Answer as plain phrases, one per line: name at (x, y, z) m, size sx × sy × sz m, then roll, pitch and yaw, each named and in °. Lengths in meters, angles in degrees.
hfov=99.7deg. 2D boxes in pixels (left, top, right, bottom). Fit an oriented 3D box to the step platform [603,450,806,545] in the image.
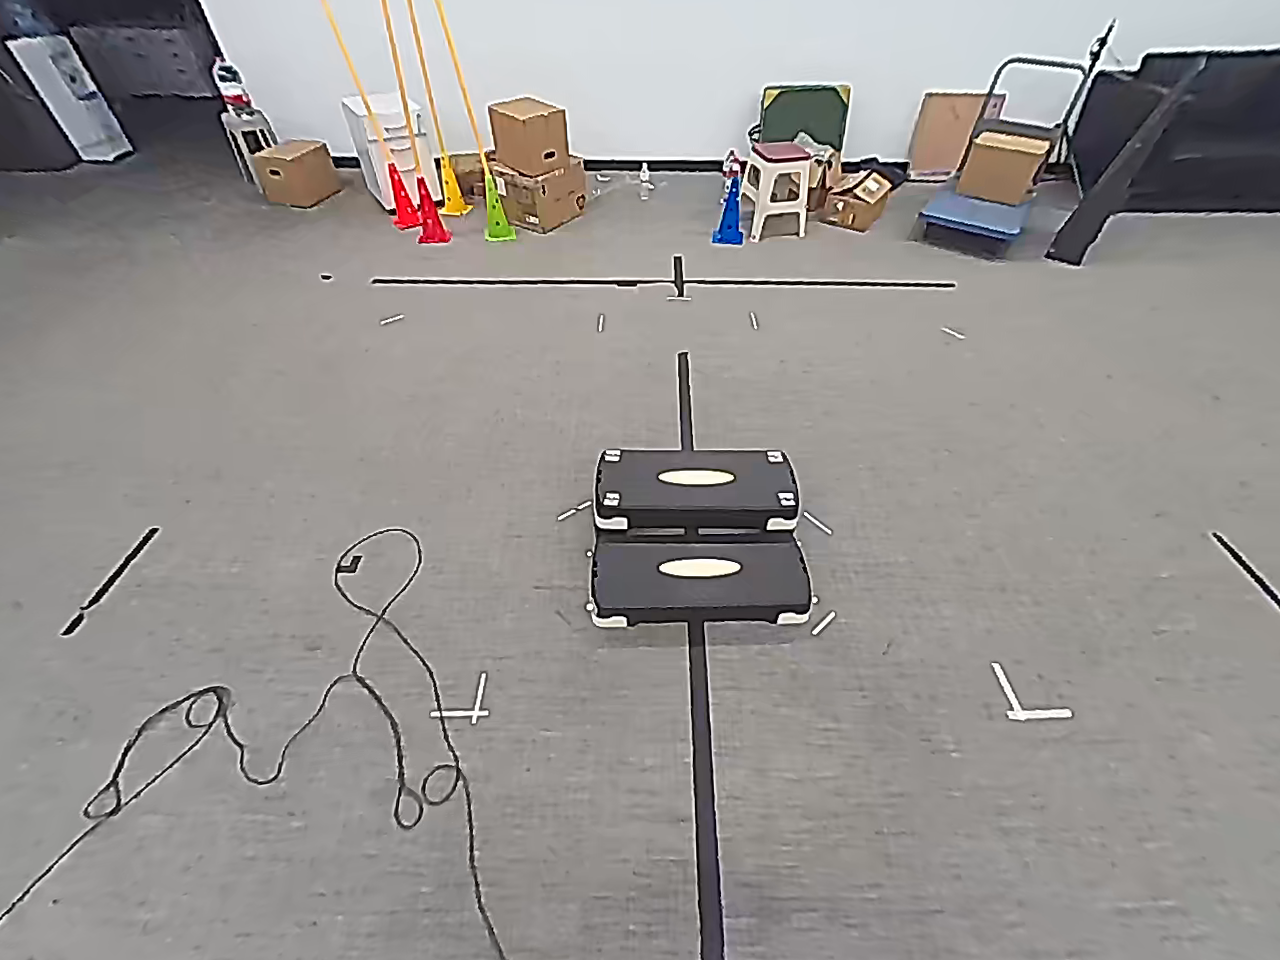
step platform at (0.214, 0.054, 1.866) m, size 0.684 × 0.204 × 0.286 m, roll 0°, pitch 47°, yaw -2°
